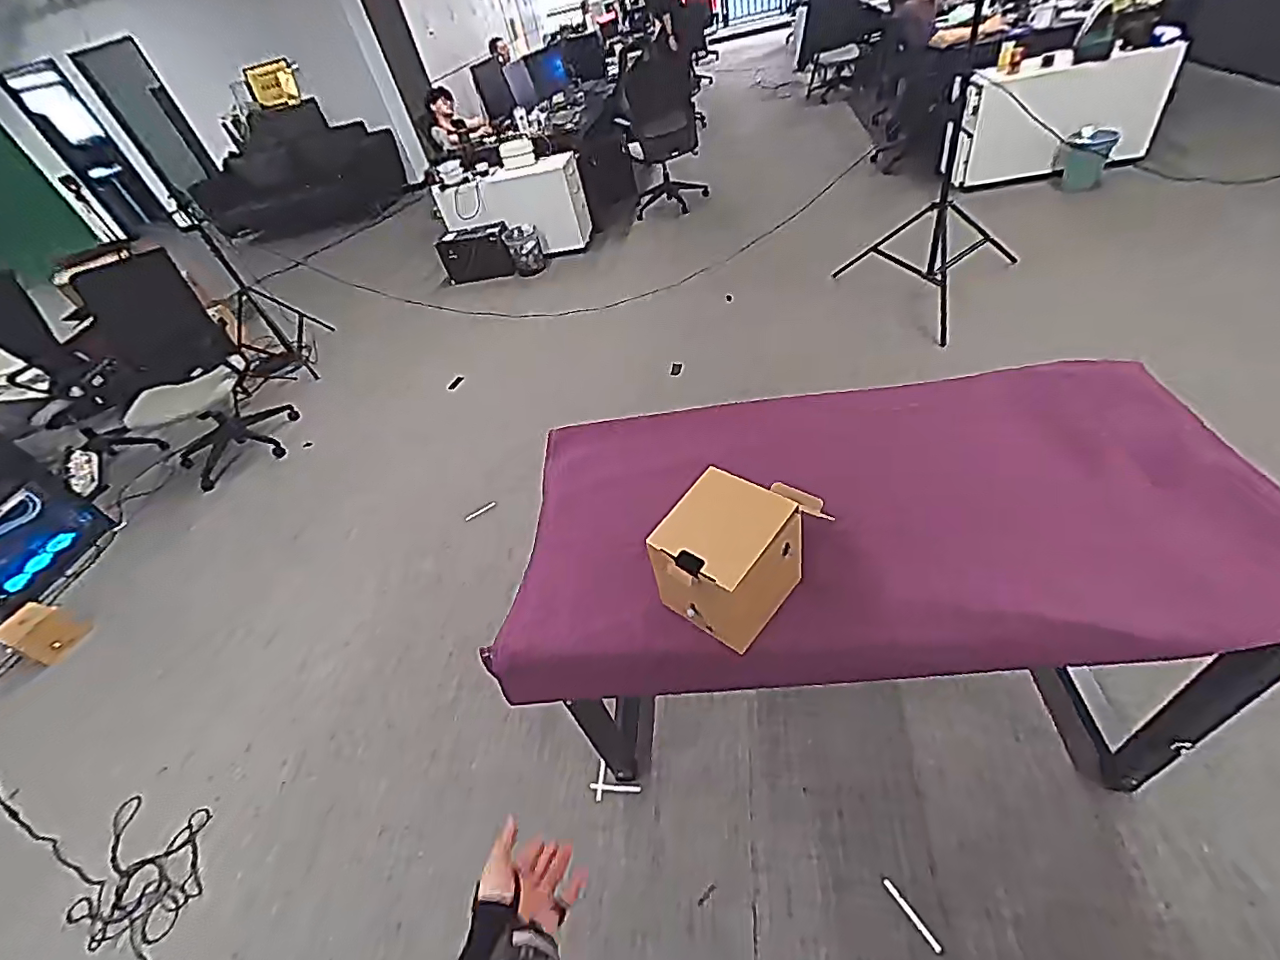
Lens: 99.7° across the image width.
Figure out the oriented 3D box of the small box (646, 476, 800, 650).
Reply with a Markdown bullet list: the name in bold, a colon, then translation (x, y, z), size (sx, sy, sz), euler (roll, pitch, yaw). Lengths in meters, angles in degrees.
- **small box**: translation (0.137, 0.130, 0.864), size (0.168, 0.176, 0.179), euler (26, 56, 38)
